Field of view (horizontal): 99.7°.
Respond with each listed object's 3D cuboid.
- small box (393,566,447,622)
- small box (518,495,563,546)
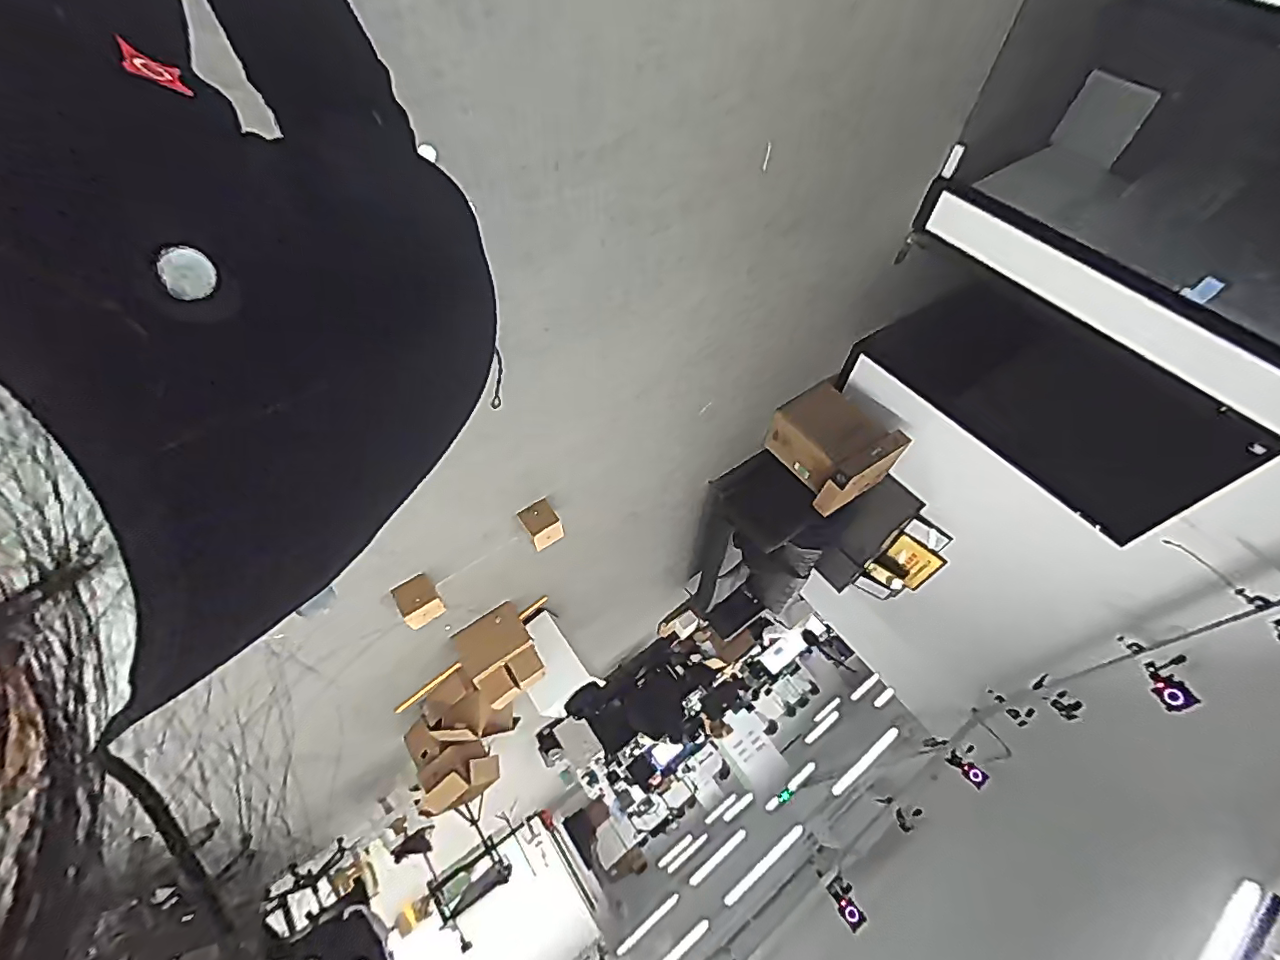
[{"bbox_3d":[-1.077,0.553,2.628,0.179,0.176,0.168,-32,153,-20],"label":"small box"},{"bbox_3d":[-0.524,0.209,2.845,0.168,0.176,0.179,-32,154,-20],"label":"small box"}]
